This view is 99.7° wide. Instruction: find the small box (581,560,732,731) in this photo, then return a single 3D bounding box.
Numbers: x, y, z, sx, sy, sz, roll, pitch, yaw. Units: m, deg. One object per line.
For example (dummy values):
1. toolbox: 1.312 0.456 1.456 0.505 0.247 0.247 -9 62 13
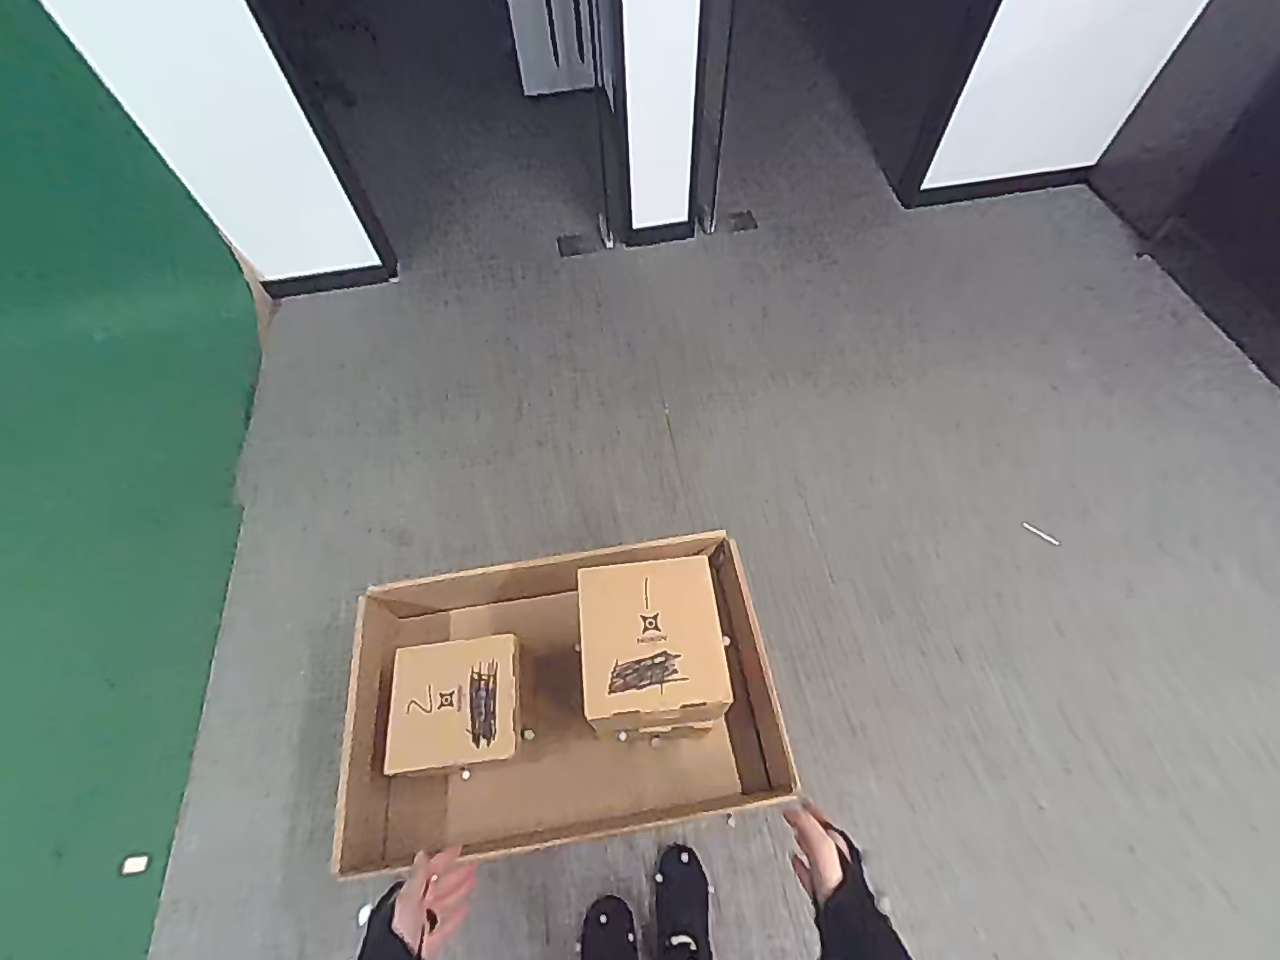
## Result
1. small box: 0.017 0.222 0.702 0.168 0.176 0.179 -6 59 -2
